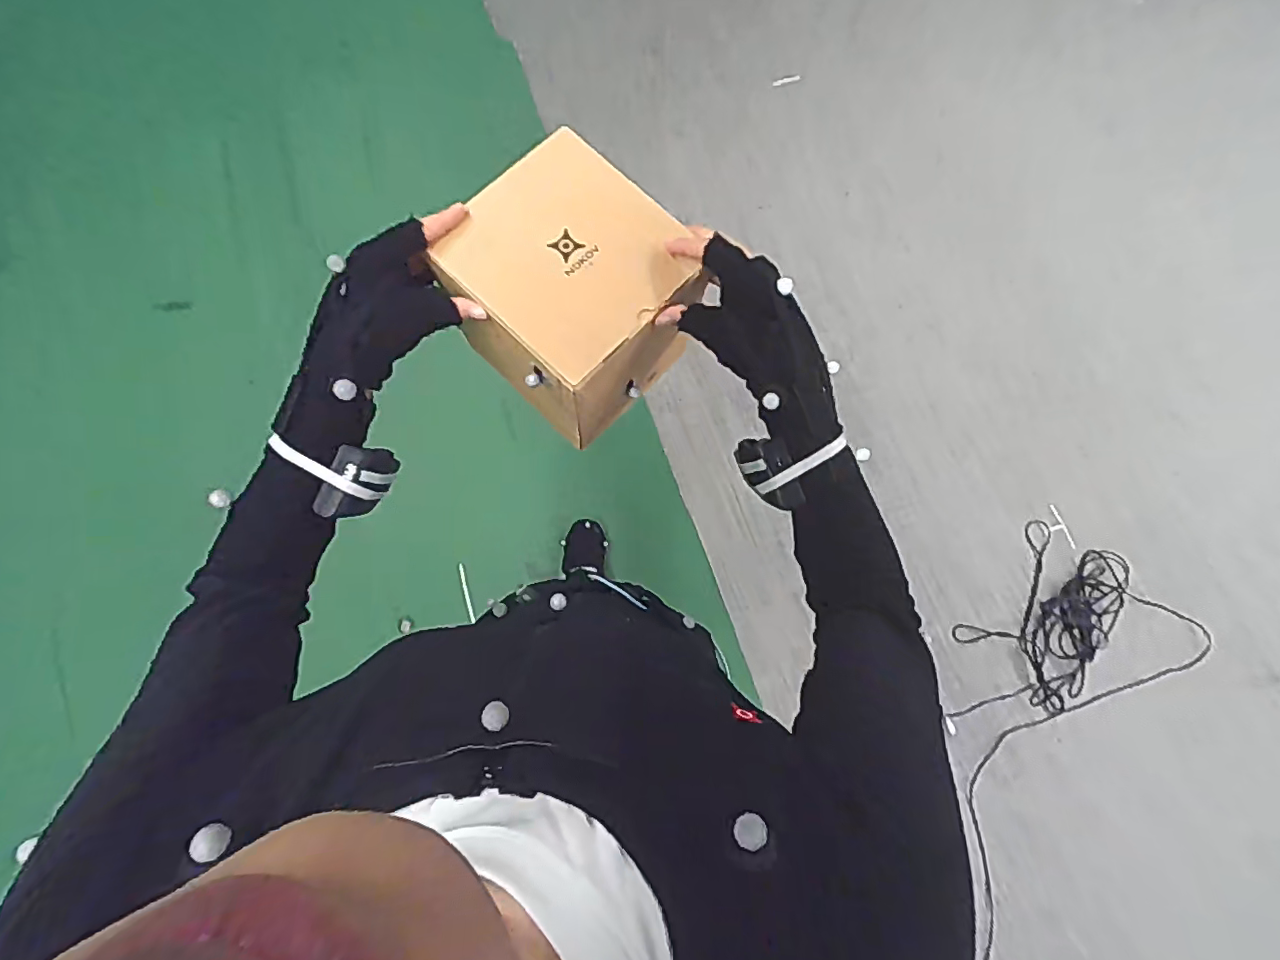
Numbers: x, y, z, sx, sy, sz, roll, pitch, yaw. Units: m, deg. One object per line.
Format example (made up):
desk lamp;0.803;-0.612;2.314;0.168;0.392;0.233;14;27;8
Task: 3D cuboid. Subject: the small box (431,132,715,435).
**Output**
small box;-0.060;-0.171;0.519;0.179;0.176;0.168;44;77;5
